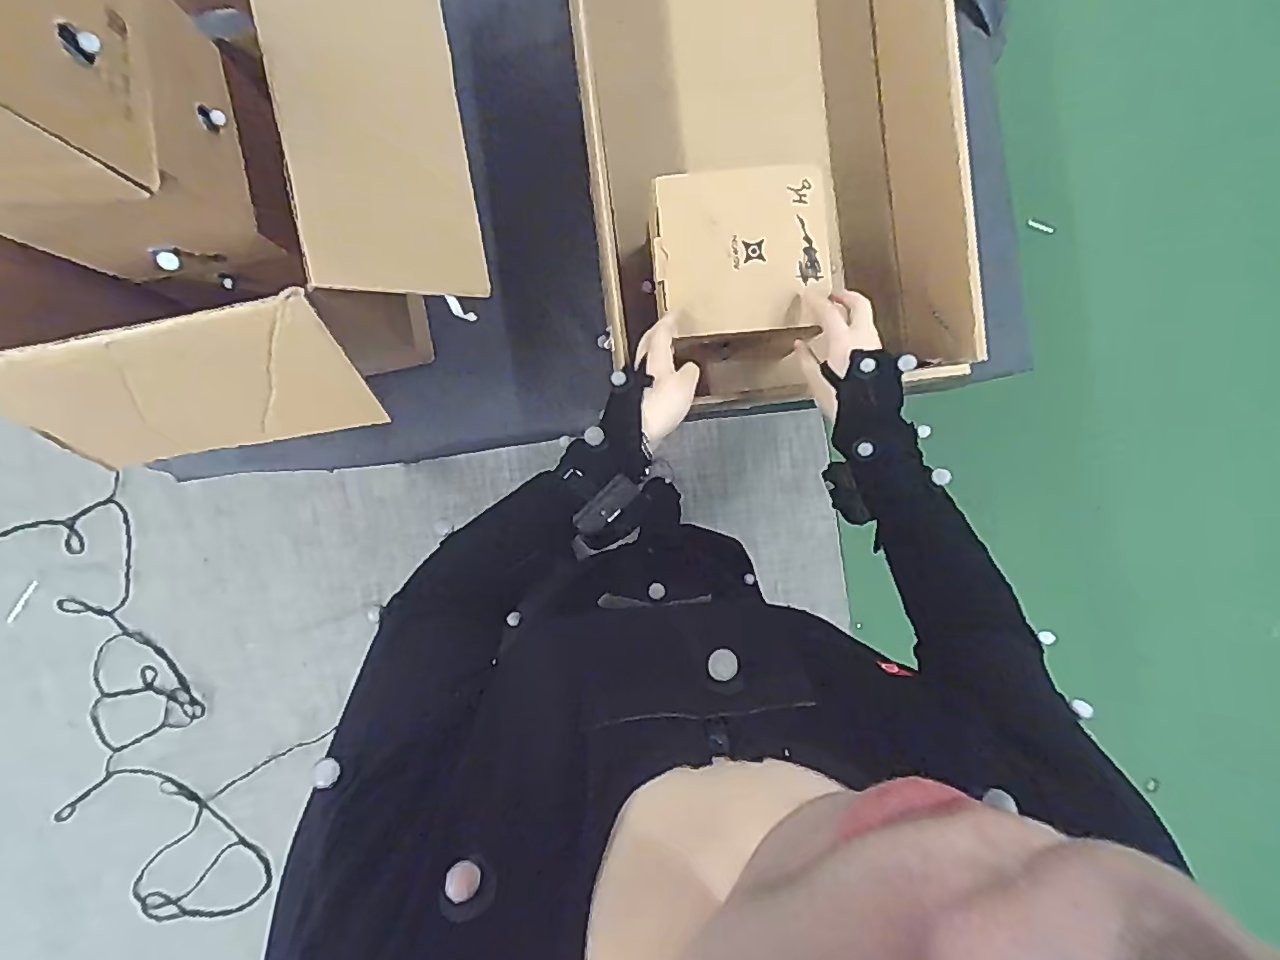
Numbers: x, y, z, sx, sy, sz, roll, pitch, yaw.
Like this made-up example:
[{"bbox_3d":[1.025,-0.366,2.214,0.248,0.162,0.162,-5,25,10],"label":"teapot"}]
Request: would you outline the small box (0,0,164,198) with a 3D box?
[{"bbox_3d":[-0.433,-0.279,0.308,0.179,0.176,0.168,-4,93,-3],"label":"small box"}]
